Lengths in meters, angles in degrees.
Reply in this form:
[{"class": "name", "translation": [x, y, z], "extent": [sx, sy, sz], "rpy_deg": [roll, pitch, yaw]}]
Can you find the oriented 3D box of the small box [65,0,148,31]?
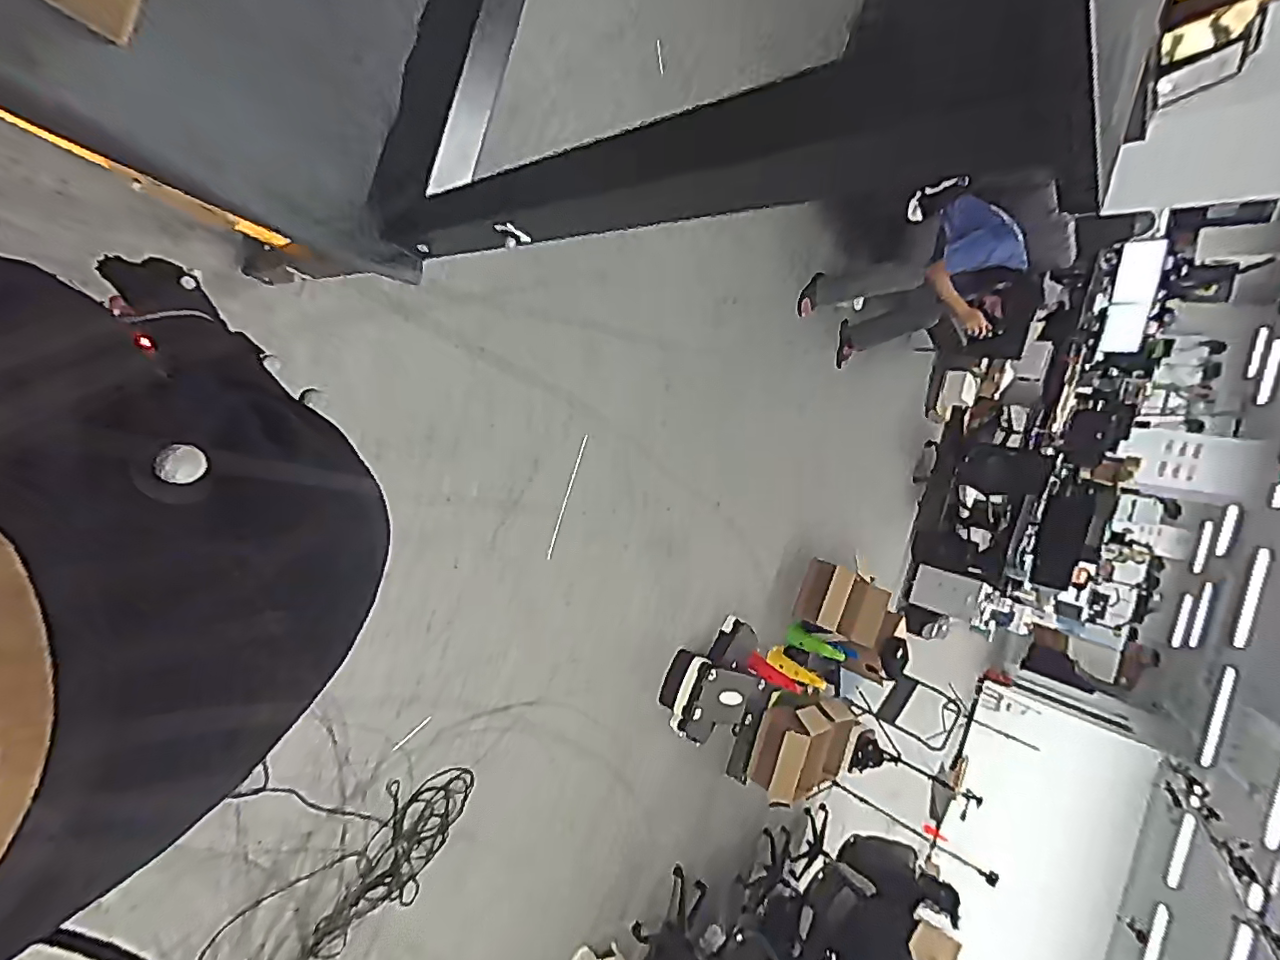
[{"class": "small box", "translation": [-0.449, -0.500, 0.399], "extent": [0.168, 0.176, 0.179], "rpy_deg": [18, 88, -47]}]
